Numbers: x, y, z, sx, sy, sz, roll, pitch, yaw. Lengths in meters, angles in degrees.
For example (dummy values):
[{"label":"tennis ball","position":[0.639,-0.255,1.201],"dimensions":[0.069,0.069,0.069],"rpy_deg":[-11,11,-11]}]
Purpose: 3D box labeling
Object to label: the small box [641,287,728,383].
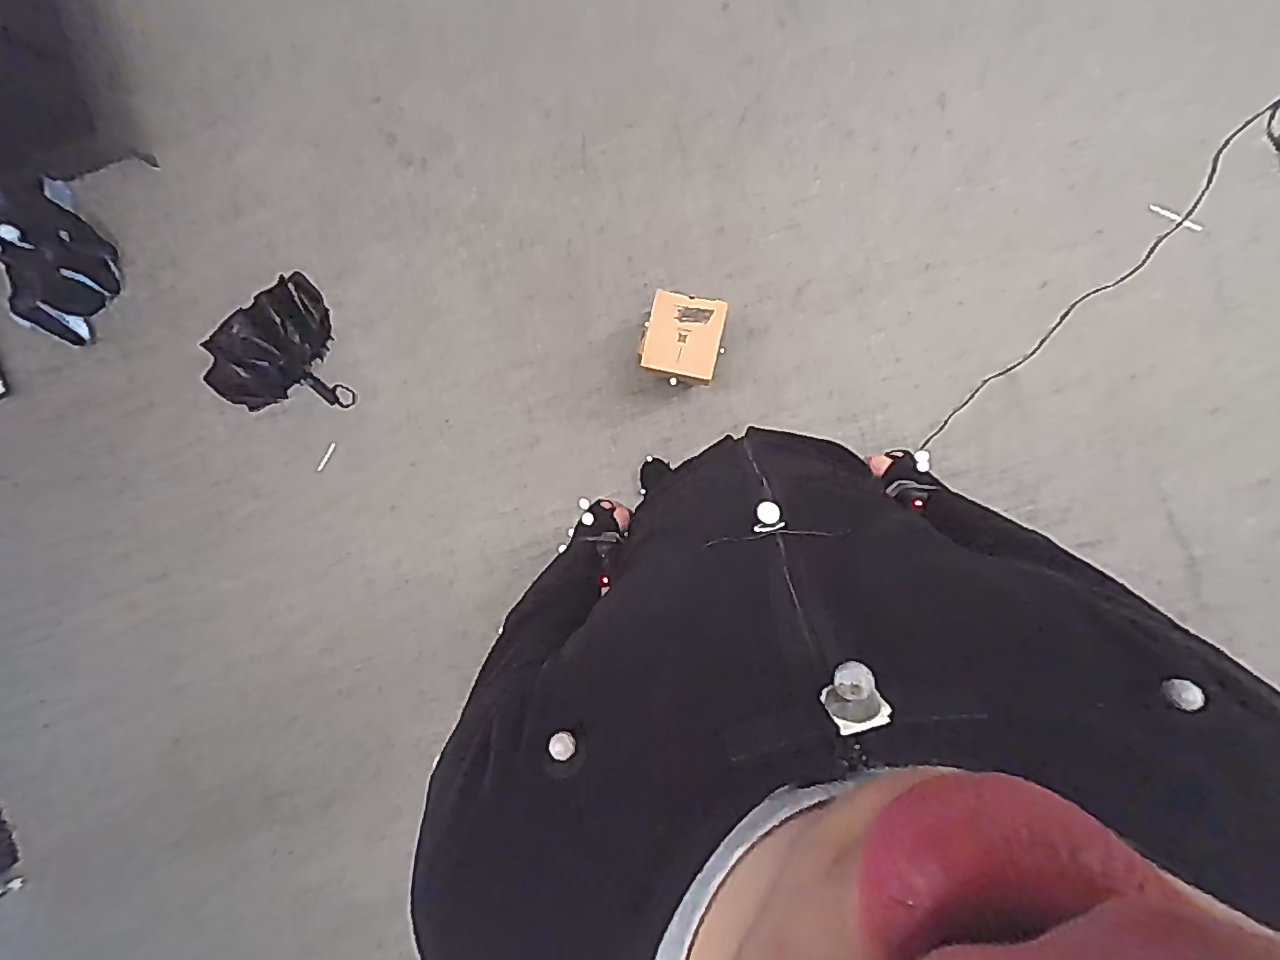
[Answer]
[{"label":"small box","position":[0.105,-0.337,1.290],"dimensions":[0.168,0.176,0.179],"rpy_deg":[13,97,5]}]
